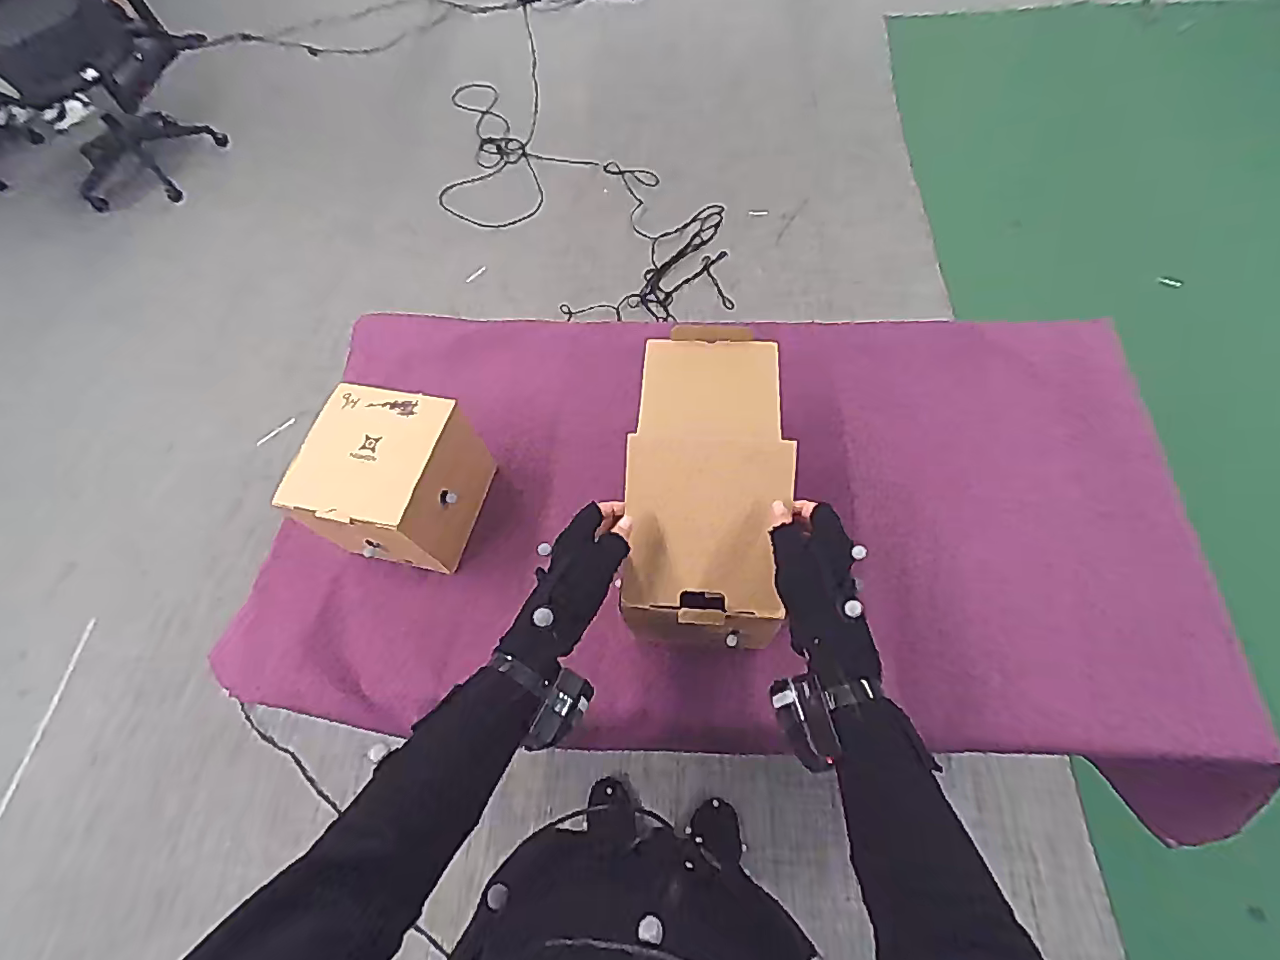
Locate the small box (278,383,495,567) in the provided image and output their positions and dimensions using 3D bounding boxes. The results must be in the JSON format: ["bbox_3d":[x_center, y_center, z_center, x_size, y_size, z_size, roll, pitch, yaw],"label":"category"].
[{"bbox_3d":[-0.312,0.000,0.712,0.168,0.176,0.179,10,65,10],"label":"small box"}]

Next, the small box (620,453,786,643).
[{"bbox_3d":[0.076,0.086,0.634,0.168,0.176,0.179,3,63,6],"label":"small box"}]
